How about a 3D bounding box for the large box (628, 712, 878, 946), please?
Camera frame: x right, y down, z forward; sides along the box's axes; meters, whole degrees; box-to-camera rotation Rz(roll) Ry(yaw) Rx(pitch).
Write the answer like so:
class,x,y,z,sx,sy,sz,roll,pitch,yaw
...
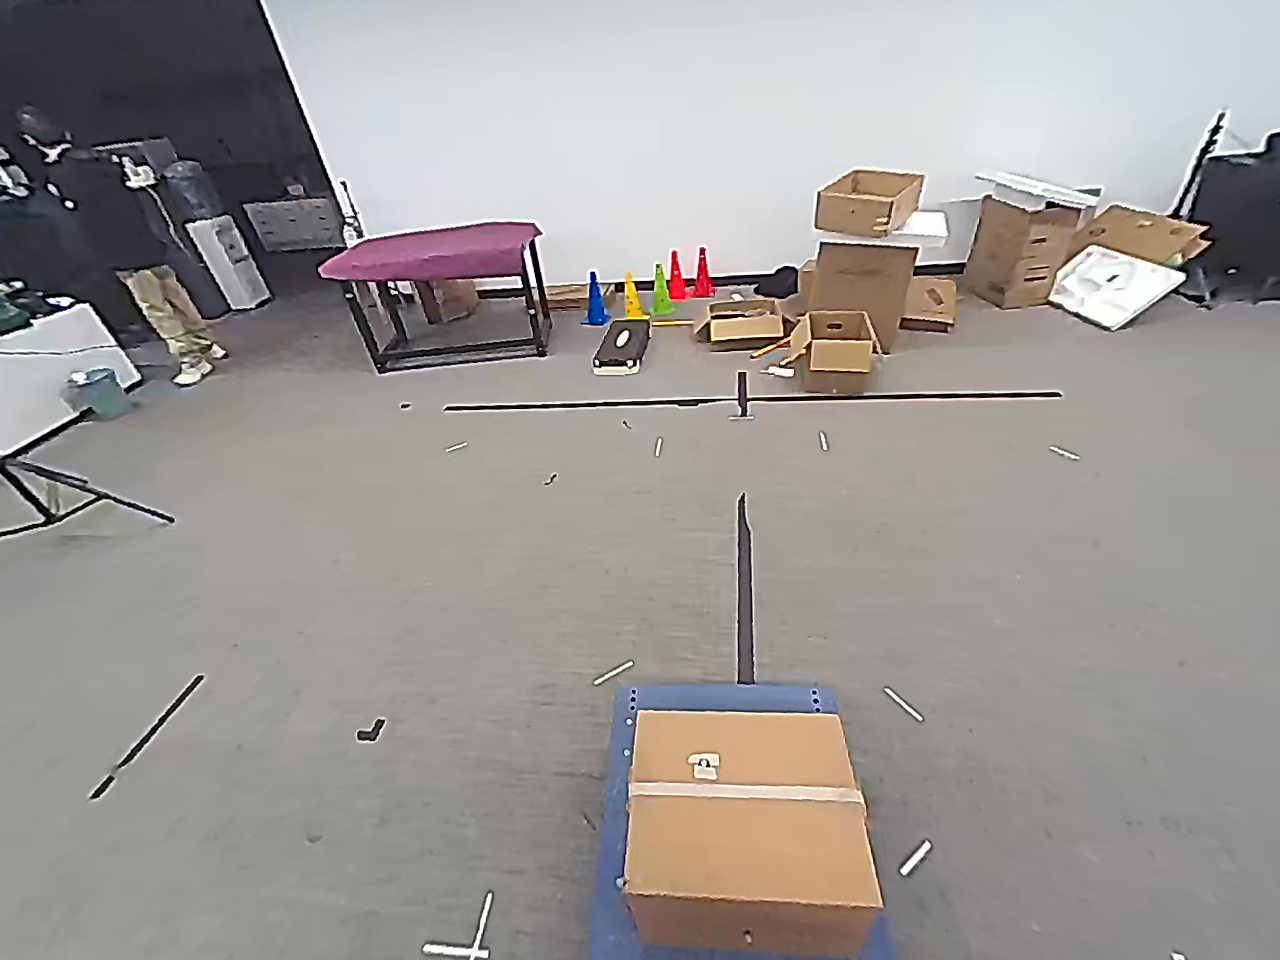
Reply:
class,x,y,z,sx,sy,sz,roll,pitch,yaw
large box,0.202,0.686,1.070,0.408,0.320,0.320,-3,36,7
